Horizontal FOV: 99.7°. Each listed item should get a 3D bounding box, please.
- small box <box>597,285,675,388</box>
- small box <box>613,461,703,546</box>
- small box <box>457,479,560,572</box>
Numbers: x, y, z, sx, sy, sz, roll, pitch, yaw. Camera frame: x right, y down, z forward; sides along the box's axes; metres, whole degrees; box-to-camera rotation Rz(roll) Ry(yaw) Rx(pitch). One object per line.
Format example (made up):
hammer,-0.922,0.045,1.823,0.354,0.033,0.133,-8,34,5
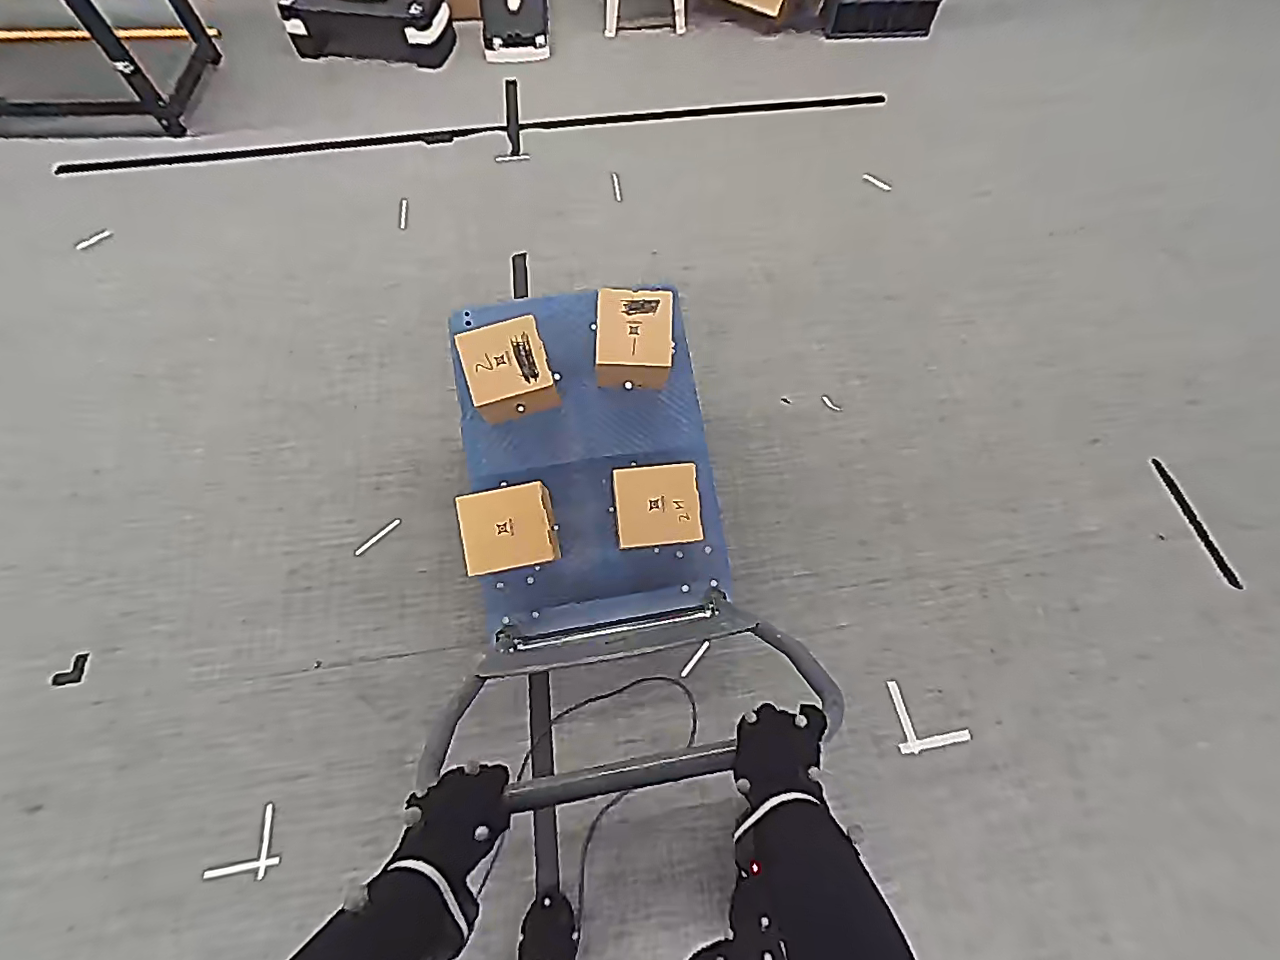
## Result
small box,-0.014,-0.326,1.252,0.168,0.176,0.179,2,83,-3
small box,0.034,0.058,1.202,0.179,0.176,0.168,-5,83,-4
small box,-0.278,0.103,1.176,0.179,0.176,0.168,-11,83,-6
